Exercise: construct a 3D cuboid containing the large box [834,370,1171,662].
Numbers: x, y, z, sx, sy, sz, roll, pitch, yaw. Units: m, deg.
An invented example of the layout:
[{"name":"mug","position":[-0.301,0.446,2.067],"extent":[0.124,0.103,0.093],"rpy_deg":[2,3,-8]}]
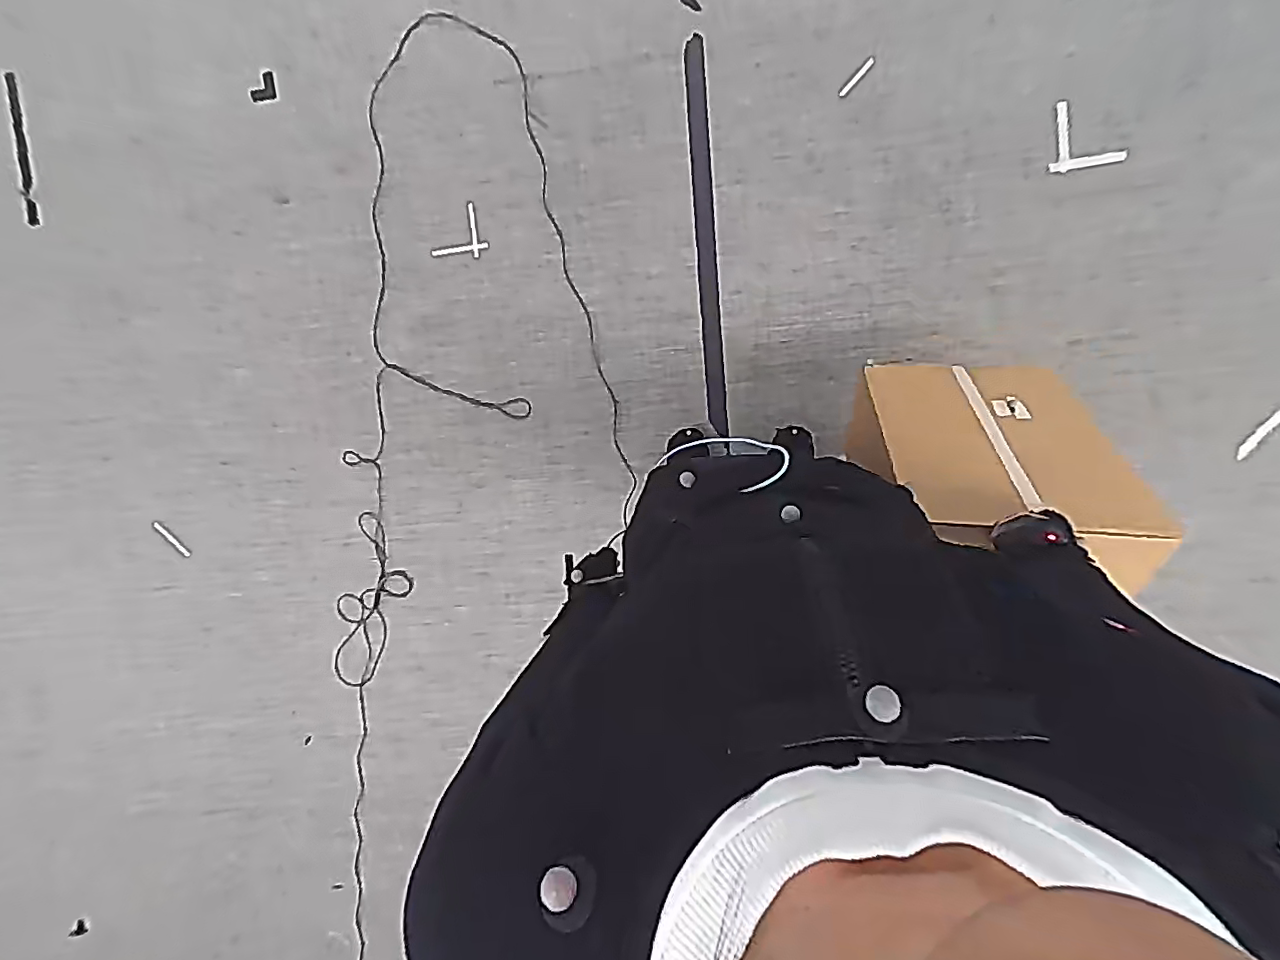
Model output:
[{"name":"large box","position":[0.540,0.048,0.928],"extent":[0.320,0.408,0.320],"rpy_deg":[4,130,7]}]
